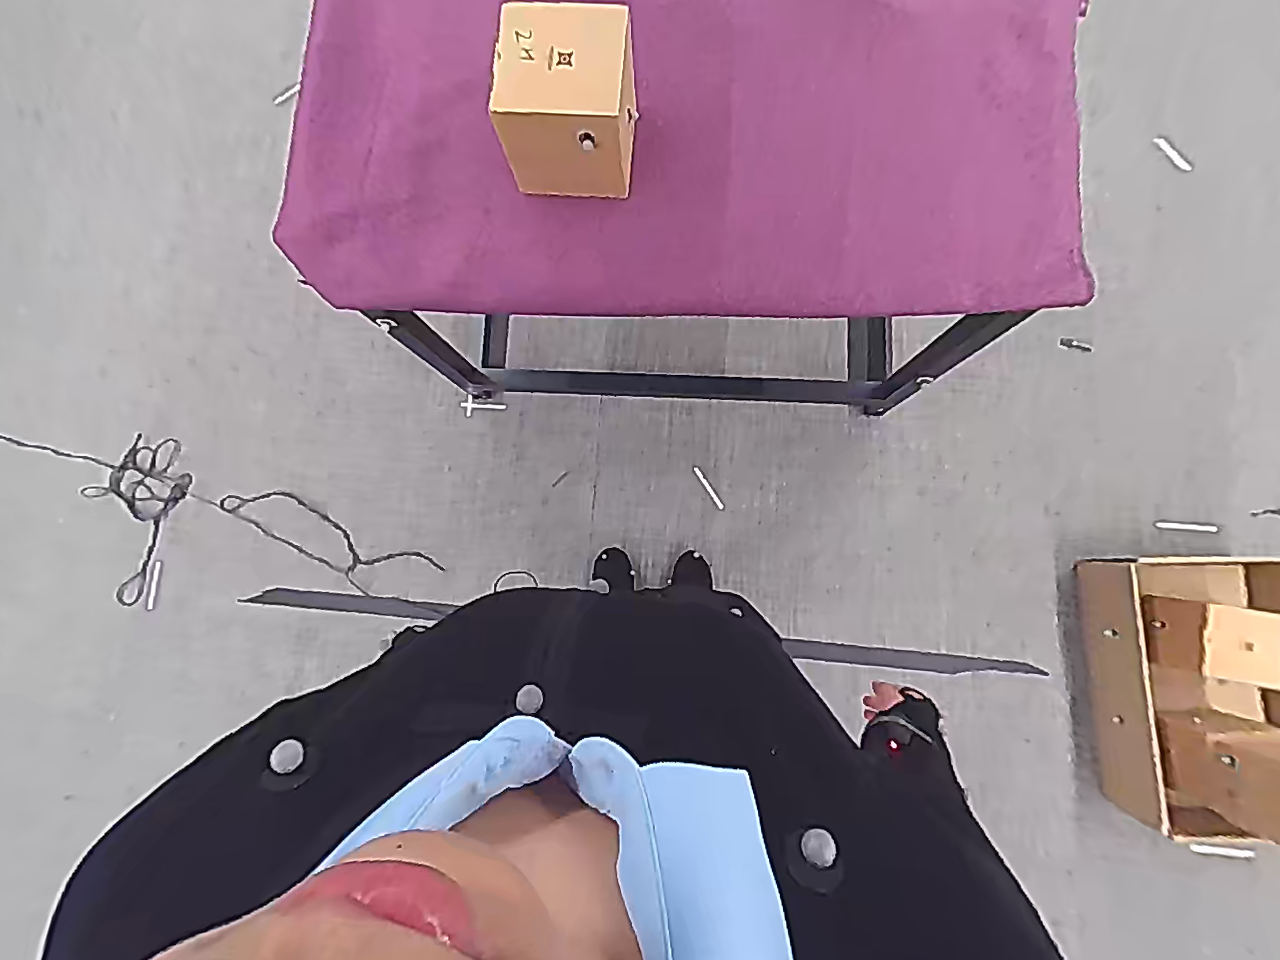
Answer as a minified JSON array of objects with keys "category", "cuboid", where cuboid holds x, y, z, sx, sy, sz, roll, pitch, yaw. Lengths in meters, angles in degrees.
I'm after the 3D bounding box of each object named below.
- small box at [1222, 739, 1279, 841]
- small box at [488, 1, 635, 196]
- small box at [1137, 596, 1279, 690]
[{"category":"small box","cuboid":[1.330,0.632,1.081,0.179,0.176,0.168,0,82,2]},{"category":"small box","cuboid":[-0.102,-0.543,0.791,0.179,0.176,0.168,4,82,4]},{"category":"small box","cuboid":[1.346,0.377,1.281,0.179,0.176,0.168,9,85,4]}]
